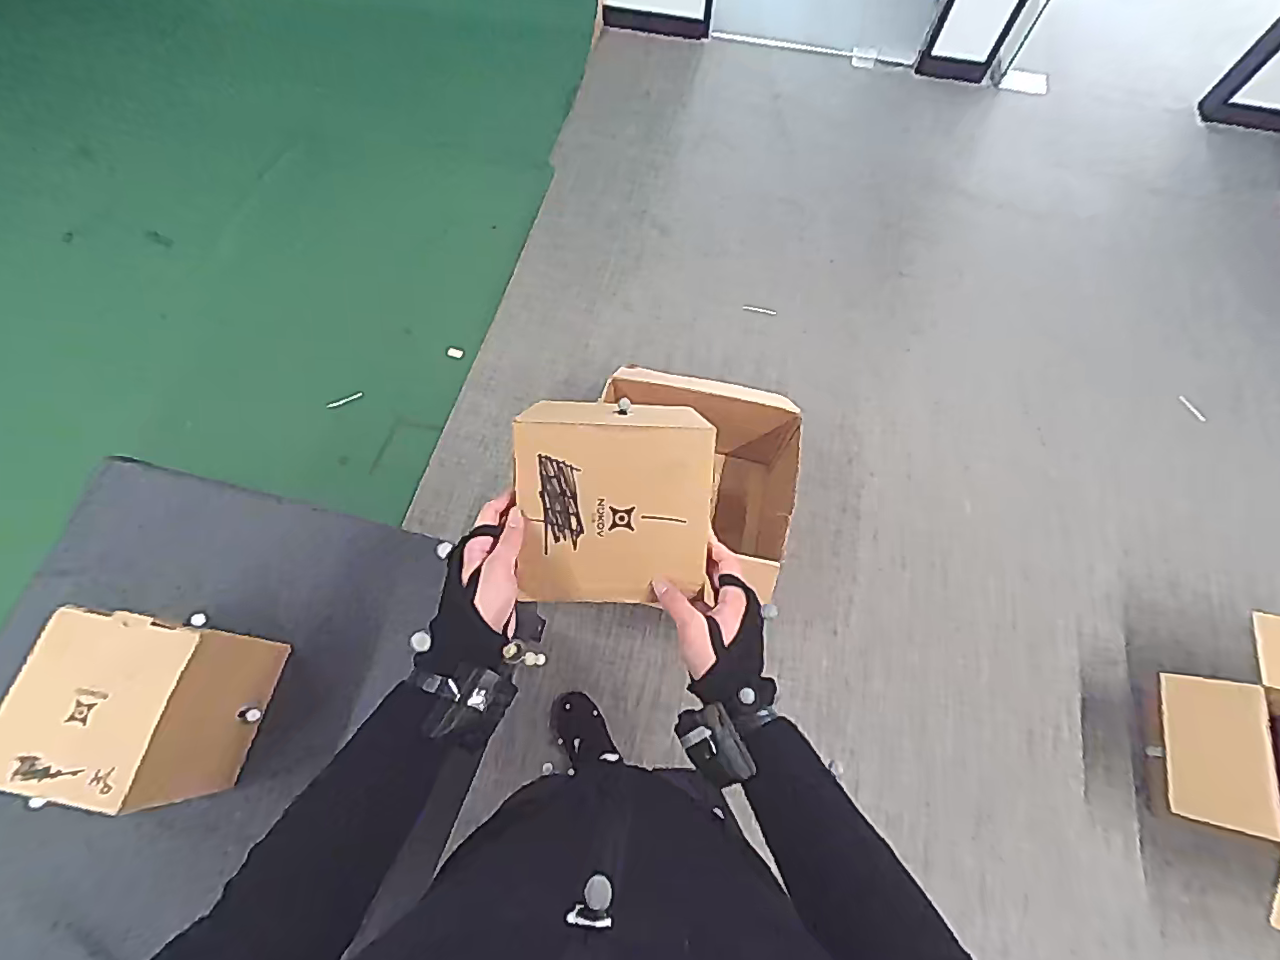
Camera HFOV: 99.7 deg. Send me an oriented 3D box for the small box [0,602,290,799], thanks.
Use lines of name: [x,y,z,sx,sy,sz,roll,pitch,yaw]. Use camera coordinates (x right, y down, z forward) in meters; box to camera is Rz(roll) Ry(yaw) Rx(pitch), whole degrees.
small box: [-0.564,0.258,0.648,0.168,0.176,0.179,9,68,1]

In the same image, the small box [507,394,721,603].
small box: [-0.028,0.007,0.554,0.179,0.176,0.168,6,105,-4]
